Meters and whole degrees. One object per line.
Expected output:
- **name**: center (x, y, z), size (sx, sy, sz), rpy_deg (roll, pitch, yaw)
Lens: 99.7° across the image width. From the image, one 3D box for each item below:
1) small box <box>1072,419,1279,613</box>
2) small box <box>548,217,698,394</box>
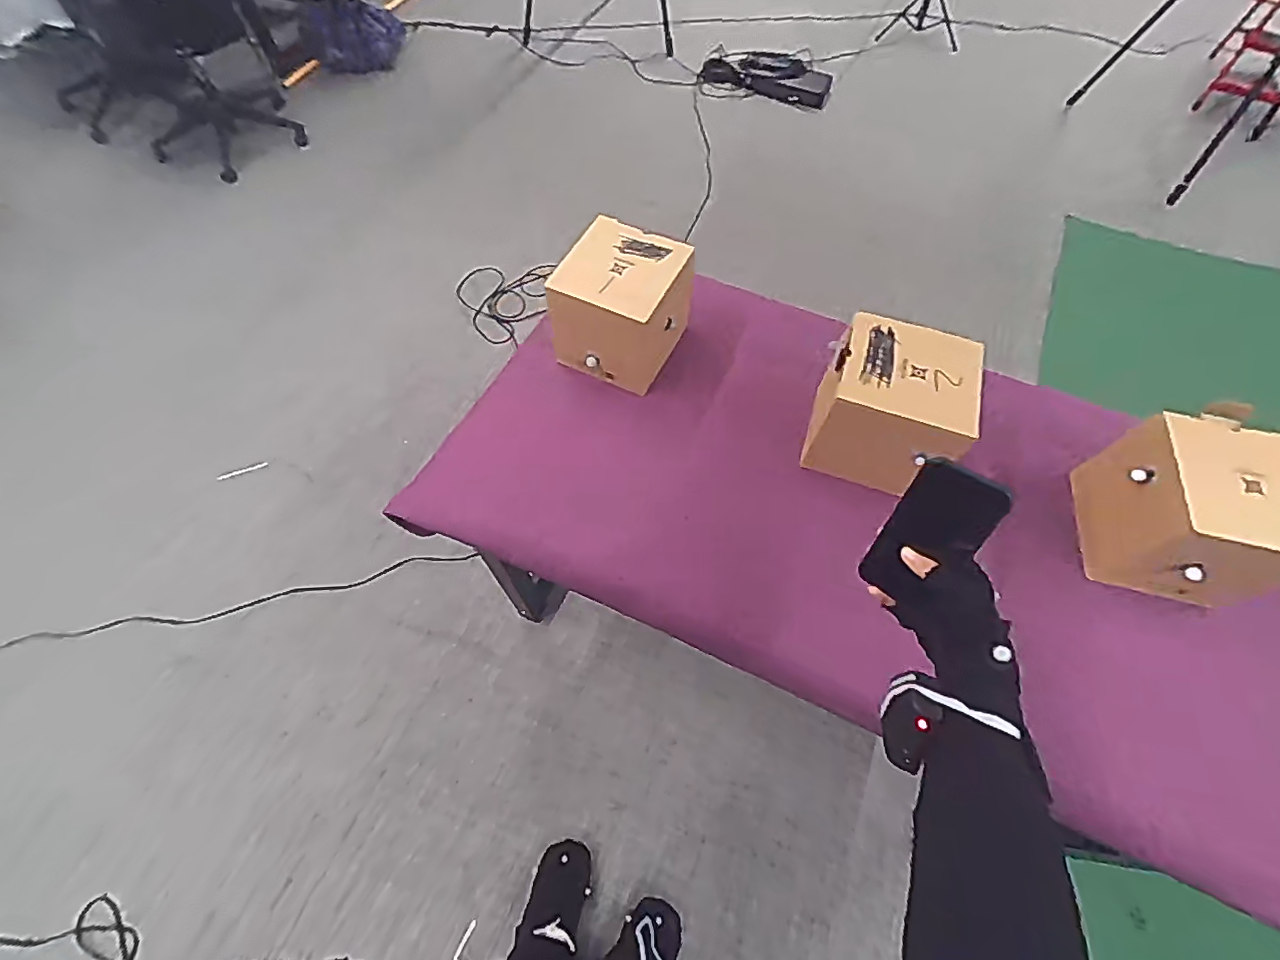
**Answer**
- **small box**: center (0.705, 0.053, 0.695), size (0.168, 0.176, 0.179), rpy_deg (14, 60, 7)
- **small box**: center (-0.025, -0.271, 0.856), size (0.168, 0.176, 0.179), rpy_deg (24, 65, 12)
